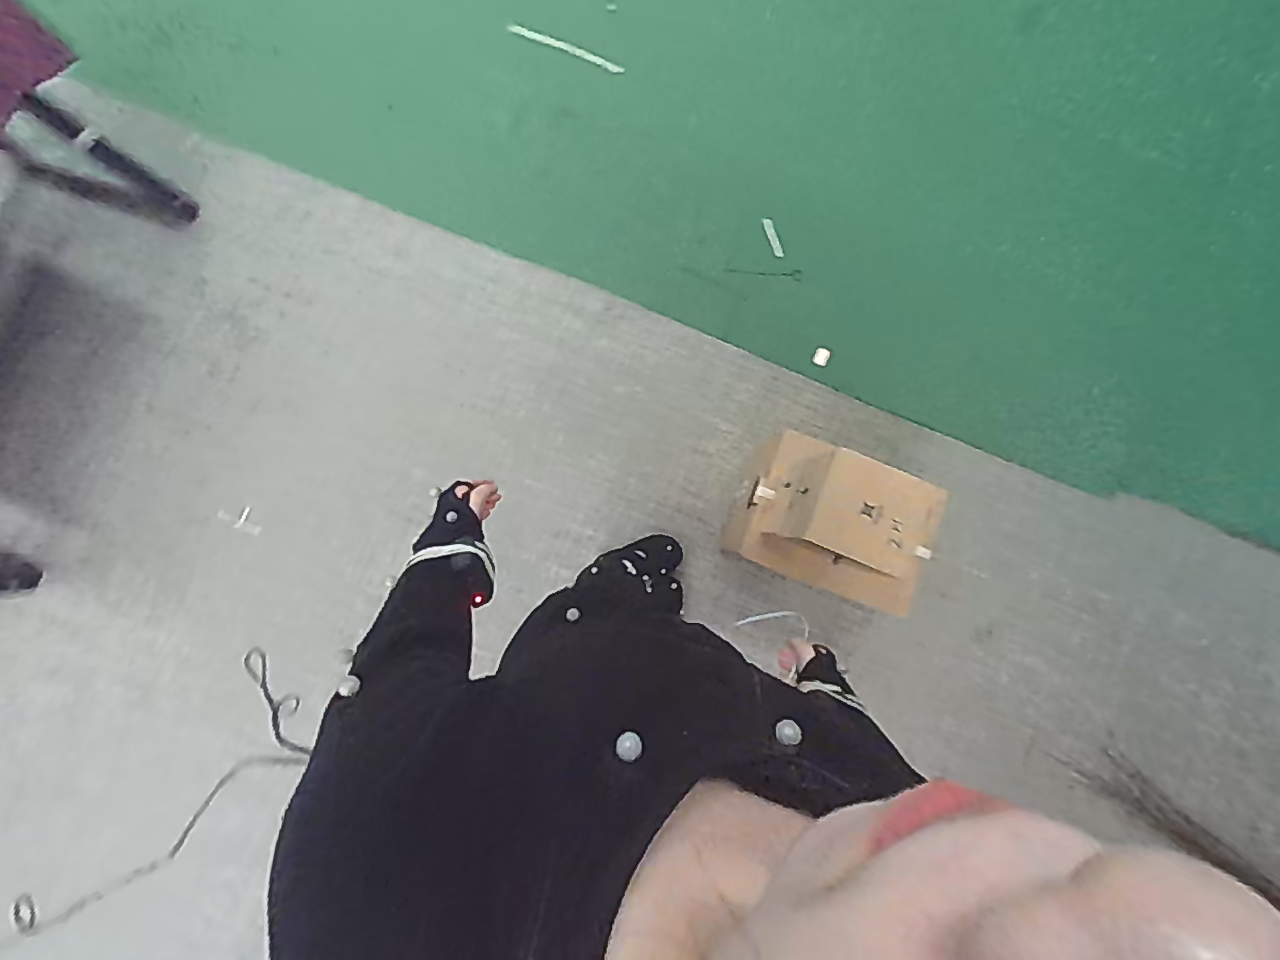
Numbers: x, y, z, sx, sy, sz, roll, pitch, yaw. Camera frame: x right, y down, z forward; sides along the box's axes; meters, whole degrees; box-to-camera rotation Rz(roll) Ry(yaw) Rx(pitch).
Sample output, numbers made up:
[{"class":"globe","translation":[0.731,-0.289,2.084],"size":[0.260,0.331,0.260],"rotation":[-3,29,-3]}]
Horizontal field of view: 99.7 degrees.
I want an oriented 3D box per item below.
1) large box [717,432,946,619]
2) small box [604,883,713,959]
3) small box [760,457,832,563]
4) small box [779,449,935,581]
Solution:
[{"class":"large box","translation":[0.451,0.112,1.358],"size":[0.408,0.320,0.320],"rotation":[22,85,0]},{"class":"small box","translation":[0.035,0.944,1.041],"size":[0.168,0.176,0.179],"rotation":[31,86,-1]},{"class":"small box","translation":[0.370,0.070,1.116],"size":[0.179,0.176,0.168],"rotation":[24,85,0]},{"class":"small box","translation":[0.367,0.063,0.951],"size":[0.179,0.176,0.168],"rotation":[24,86,0]}]
